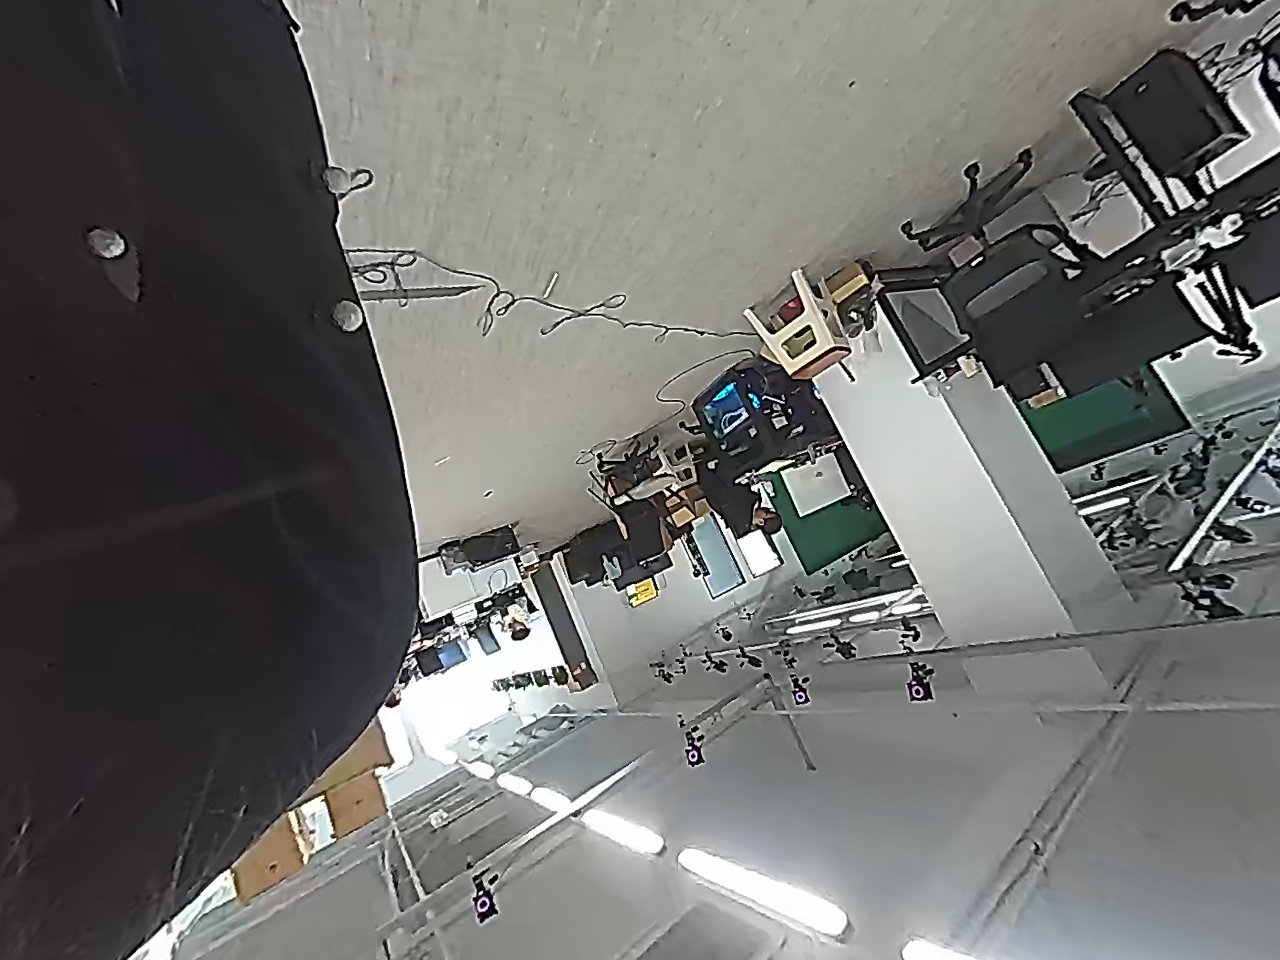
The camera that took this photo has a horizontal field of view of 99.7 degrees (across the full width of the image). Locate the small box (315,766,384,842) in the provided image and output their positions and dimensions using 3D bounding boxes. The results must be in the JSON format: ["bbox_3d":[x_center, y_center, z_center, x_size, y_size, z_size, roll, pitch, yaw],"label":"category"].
[{"bbox_3d":[-1.053,1.161,1.954,0.179,0.176,0.168,-19,170,-38],"label":"small box"}]
